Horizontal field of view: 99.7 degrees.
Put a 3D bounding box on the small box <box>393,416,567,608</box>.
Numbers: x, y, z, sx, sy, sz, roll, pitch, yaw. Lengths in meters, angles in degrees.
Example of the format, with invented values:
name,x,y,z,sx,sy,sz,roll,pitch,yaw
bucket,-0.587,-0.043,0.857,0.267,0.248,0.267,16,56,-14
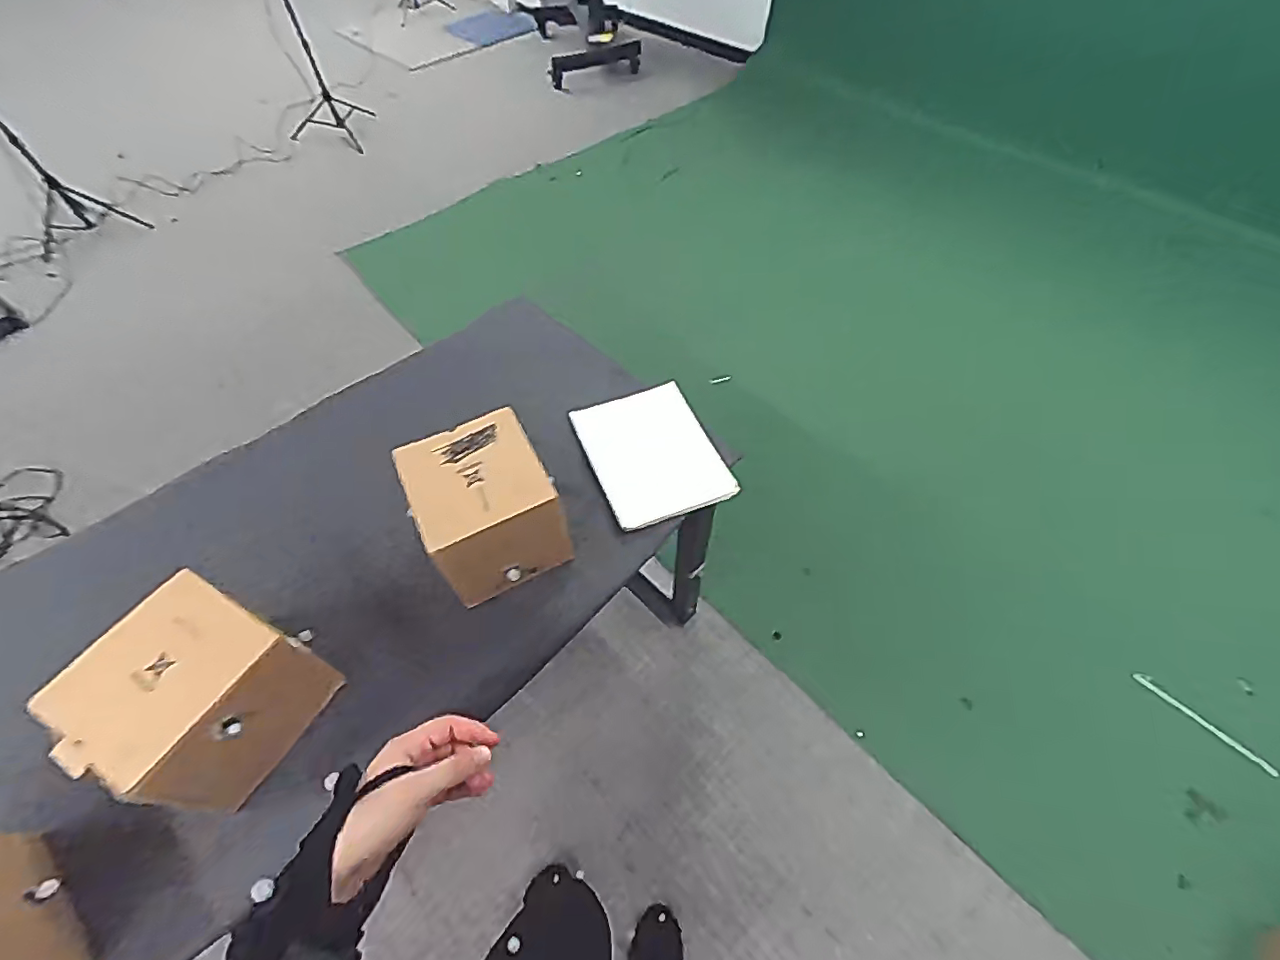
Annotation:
name,x,y,z,sx,sy,sz,roll,pitch,yaw
small box,-0.216,0.047,0.758,0.168,0.176,0.179,-25,58,-15

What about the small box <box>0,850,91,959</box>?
name,x,y,z,sx,sy,sz,roll,pitch,yaw
small box,-0.663,0.460,0.478,0.179,0.176,0.168,35,62,22

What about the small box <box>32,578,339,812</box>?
name,x,y,z,sx,sy,sz,roll,pitch,yaw
small box,-0.496,0.252,0.624,0.168,0.176,0.179,24,58,16
